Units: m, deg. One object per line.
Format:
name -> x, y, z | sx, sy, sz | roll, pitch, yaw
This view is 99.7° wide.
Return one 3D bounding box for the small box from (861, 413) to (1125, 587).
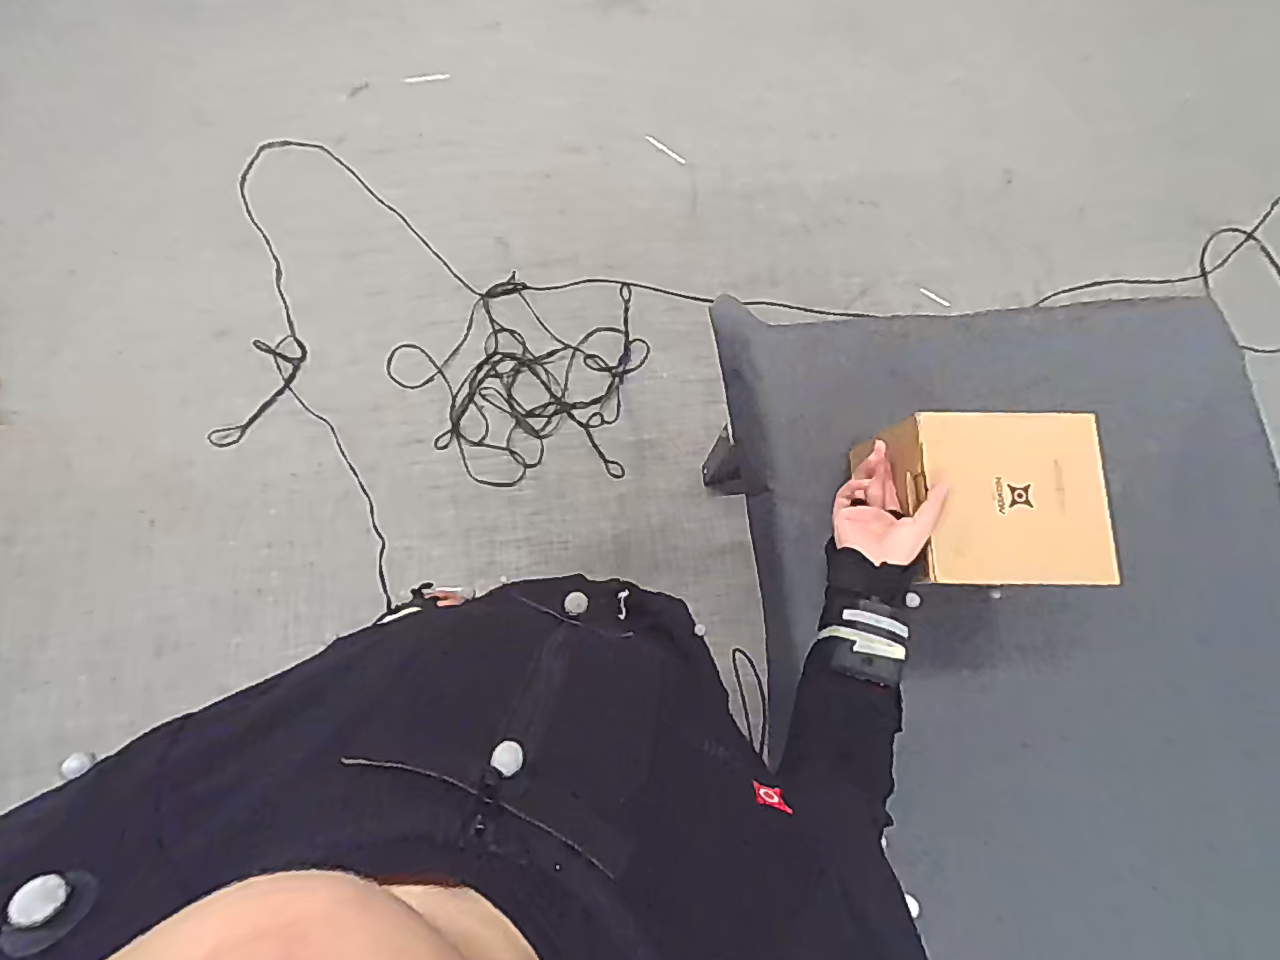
small box -> 0.354, 0.031, 0.582 | 0.179, 0.176, 0.168 | 0, 81, -2
